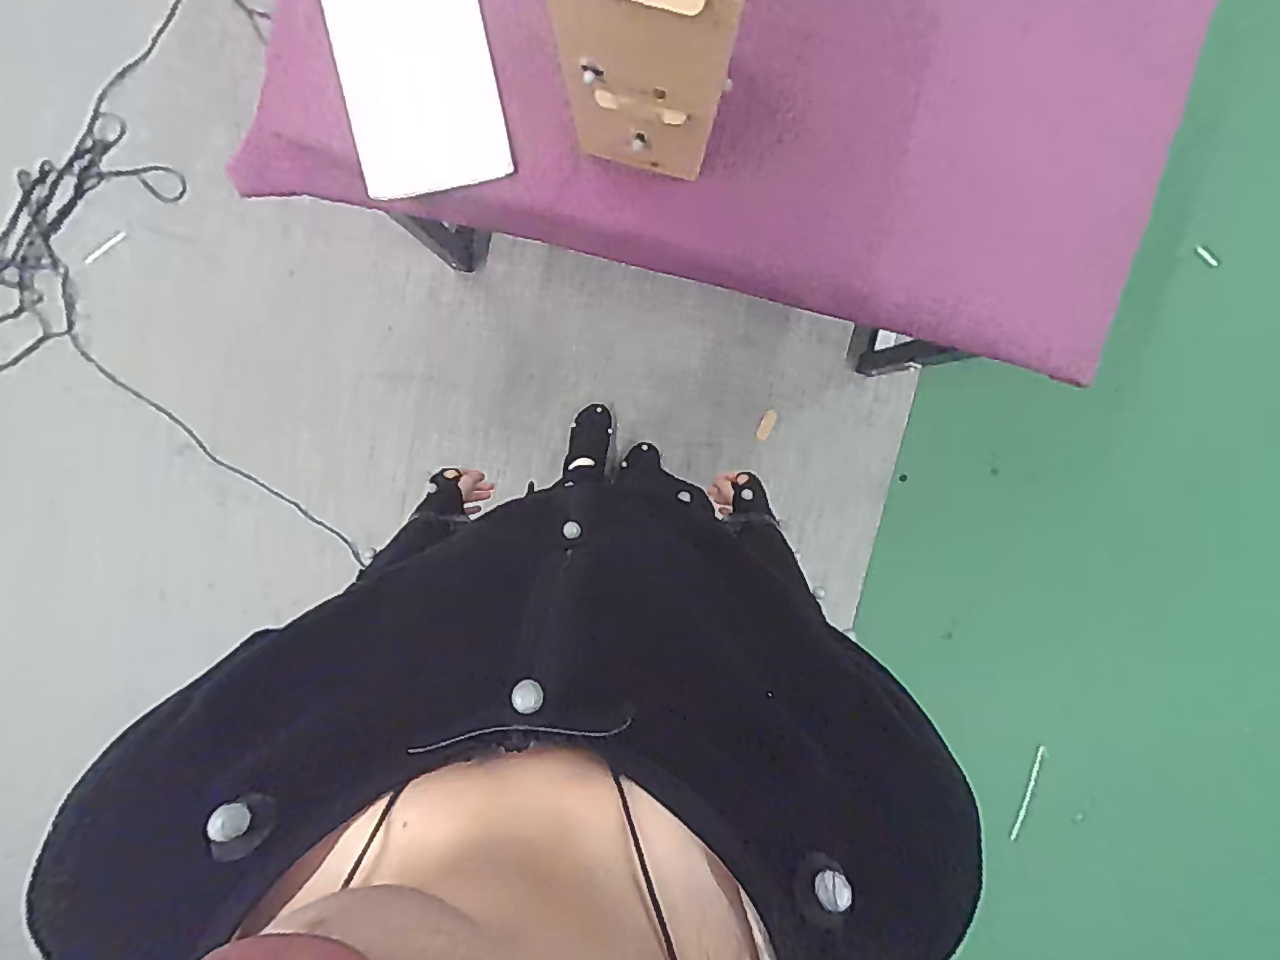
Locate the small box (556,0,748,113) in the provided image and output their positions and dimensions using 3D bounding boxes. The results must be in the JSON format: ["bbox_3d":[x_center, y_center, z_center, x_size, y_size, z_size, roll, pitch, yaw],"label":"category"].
[{"bbox_3d":[0.023,-0.481,0.490,0.168,0.176,0.179,14,94,-2],"label":"small box"}]

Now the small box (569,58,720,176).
[{"bbox_3d":[0.022,-0.504,0.654,0.168,0.176,0.179,14,96,-3],"label":"small box"}]
